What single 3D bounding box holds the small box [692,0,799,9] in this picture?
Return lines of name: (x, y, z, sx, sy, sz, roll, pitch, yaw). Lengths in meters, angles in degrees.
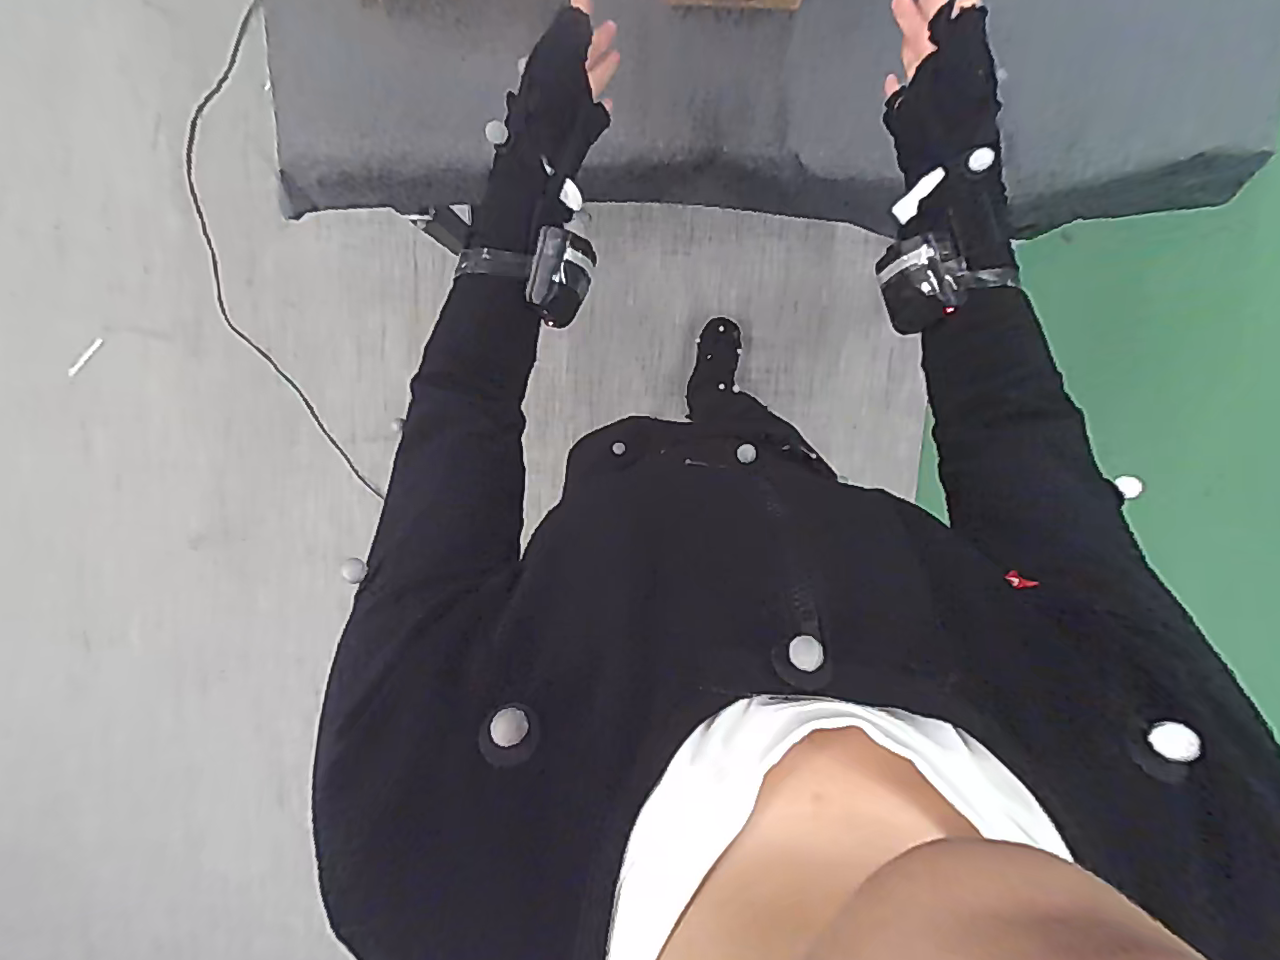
small box: (0.111, -0.632, 0.552, 0.168, 0.176, 0.179, 3, 99, 1)
